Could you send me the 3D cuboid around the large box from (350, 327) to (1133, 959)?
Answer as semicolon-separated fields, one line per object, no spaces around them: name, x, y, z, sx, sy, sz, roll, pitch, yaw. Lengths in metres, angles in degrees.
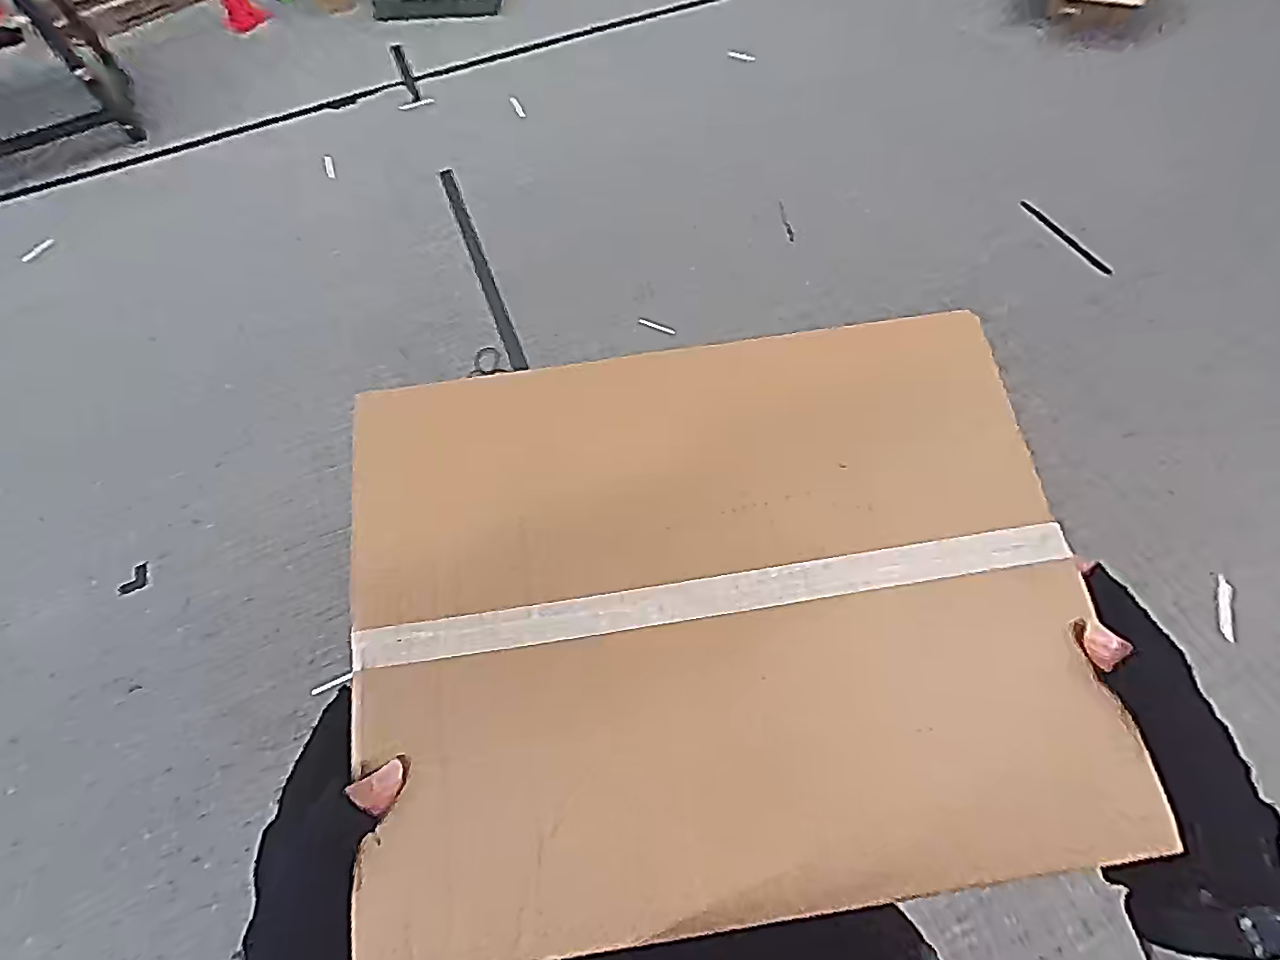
large box;0.039;0.117;0.454;0.408;0.320;0.320;-10;73;-2
